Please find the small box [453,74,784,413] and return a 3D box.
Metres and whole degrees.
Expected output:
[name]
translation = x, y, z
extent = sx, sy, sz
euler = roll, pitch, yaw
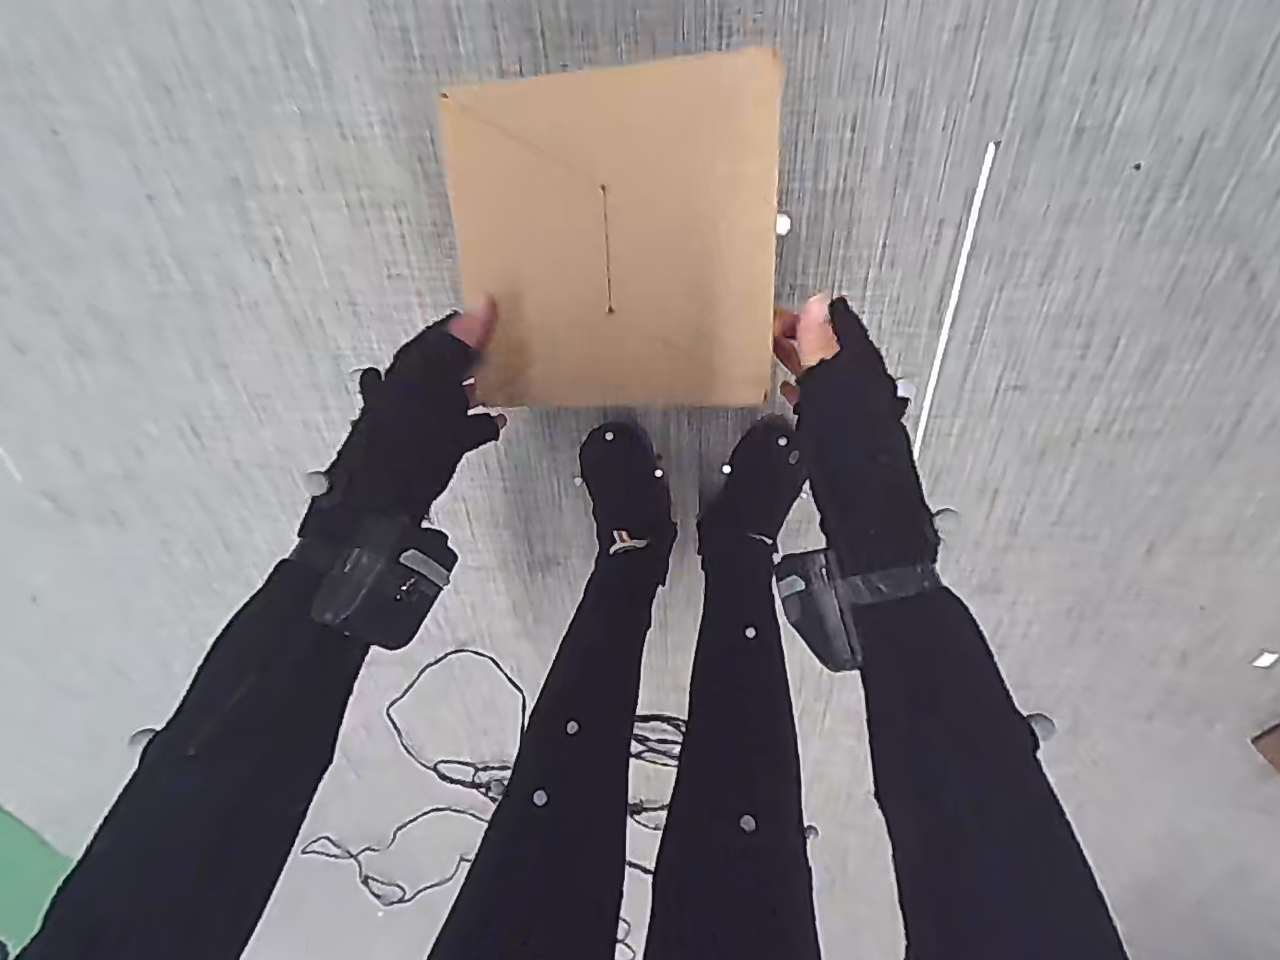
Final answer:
[small box]
translation = -0.002, -0.144, 0.365
extent = 0.179, 0.176, 0.168
euler = 2, 110, 11
